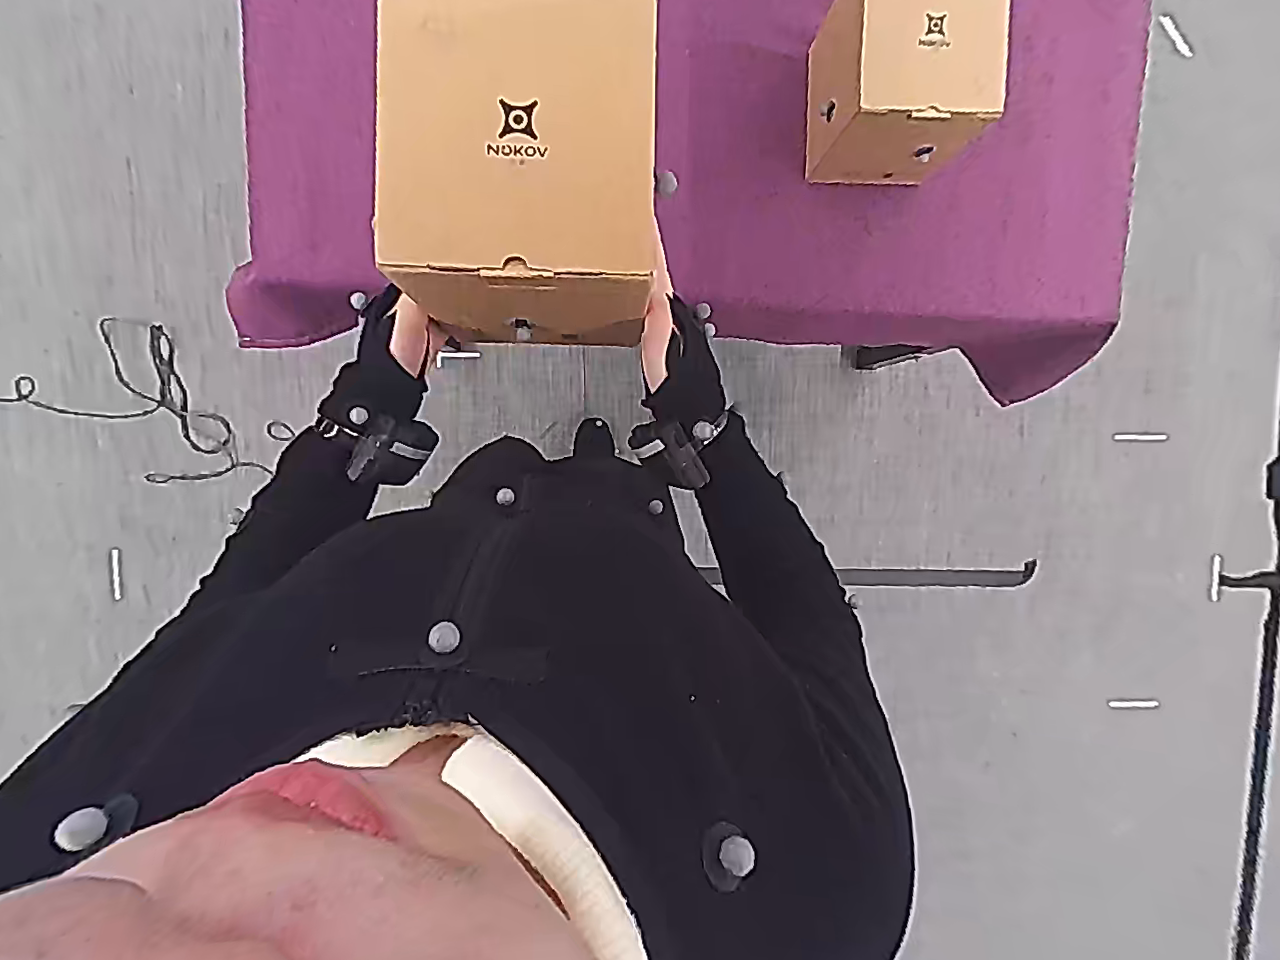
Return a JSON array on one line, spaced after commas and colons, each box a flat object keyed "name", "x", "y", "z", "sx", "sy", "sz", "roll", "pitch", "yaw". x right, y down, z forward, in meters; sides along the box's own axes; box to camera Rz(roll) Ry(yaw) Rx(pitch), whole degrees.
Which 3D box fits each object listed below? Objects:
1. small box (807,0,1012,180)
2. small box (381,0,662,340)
[{"name": "small box", "x": 0.314, "y": -0.492, "z": 0.661, "sx": 0.168, "sy": 0.176, "sz": 0.179, "roll": 0, "pitch": 95, "yaw": -3}, {"name": "small box", "x": -0.075, "y": -0.215, "z": 0.403, "sx": 0.168, "sy": 0.176, "sz": 0.179, "roll": 1, "pitch": 91, "yaw": -3}]
